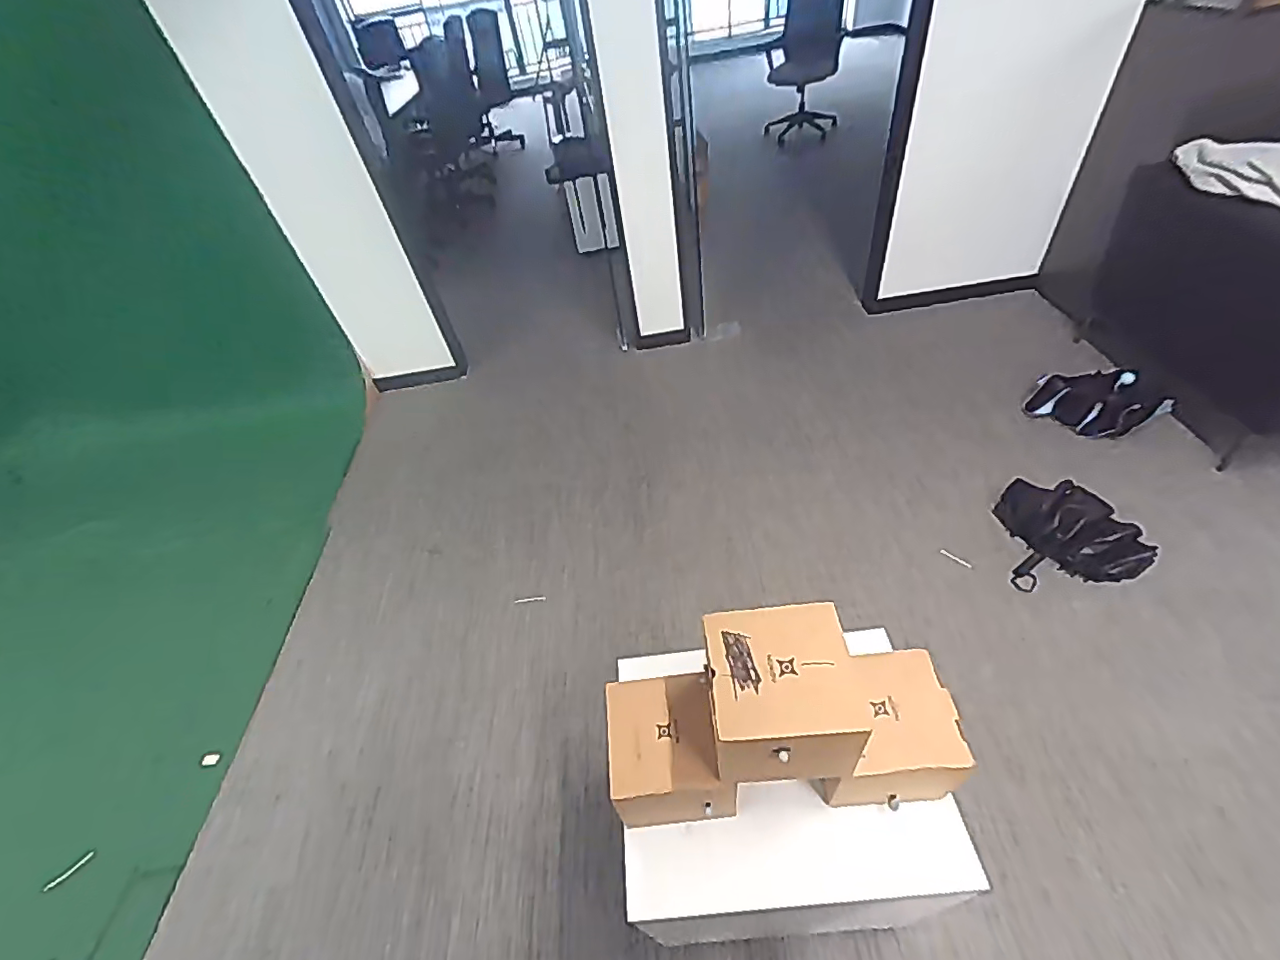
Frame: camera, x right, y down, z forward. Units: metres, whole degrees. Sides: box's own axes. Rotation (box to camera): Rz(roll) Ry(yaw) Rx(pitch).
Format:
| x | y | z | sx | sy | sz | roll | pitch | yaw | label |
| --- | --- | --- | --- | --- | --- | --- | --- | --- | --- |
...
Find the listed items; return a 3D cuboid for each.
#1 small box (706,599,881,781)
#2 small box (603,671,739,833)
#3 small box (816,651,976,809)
| x | y | z | sx | sy | sz | roll | pitch | yaw | label |
| --- | --- | --- | --- | --- | --- | --- | --- | --- | --- |
| 0.183 | 0.275 | 0.702 | 0.179 | 0.176 | 0.168 | -5 | 45 | 2 | small box |
| 0.044 | 0.412 | 0.817 | 0.179 | 0.176 | 0.168 | -8 | 44 | 0 | small box |
| 0.354 | 0.377 | 0.812 | 0.179 | 0.176 | 0.168 | -7 | 45 | 2 | small box |
